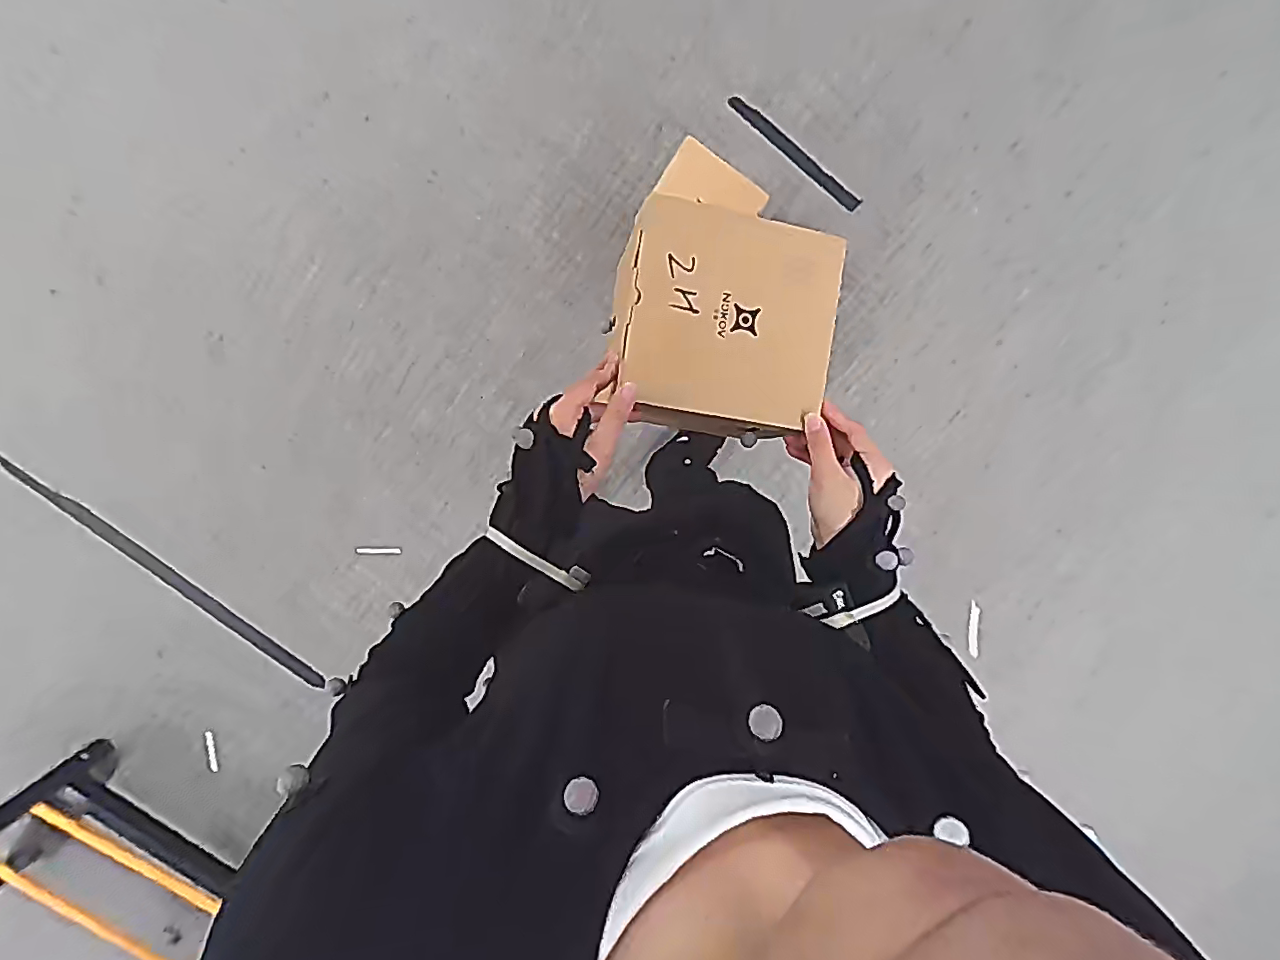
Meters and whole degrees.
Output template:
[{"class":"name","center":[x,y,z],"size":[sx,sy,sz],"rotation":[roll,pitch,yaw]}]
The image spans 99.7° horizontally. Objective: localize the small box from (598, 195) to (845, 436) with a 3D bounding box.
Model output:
[{"class":"small box","center":[0.063,-0.134,0.515],"size":[0.179,0.176,0.168],"rotation":[8,91,-9]}]

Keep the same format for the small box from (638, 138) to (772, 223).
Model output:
[{"class":"small box","center":[0.113,-0.479,1.005],"size":[0.179,0.176,0.168],"rotation":[34,102,-5]}]
